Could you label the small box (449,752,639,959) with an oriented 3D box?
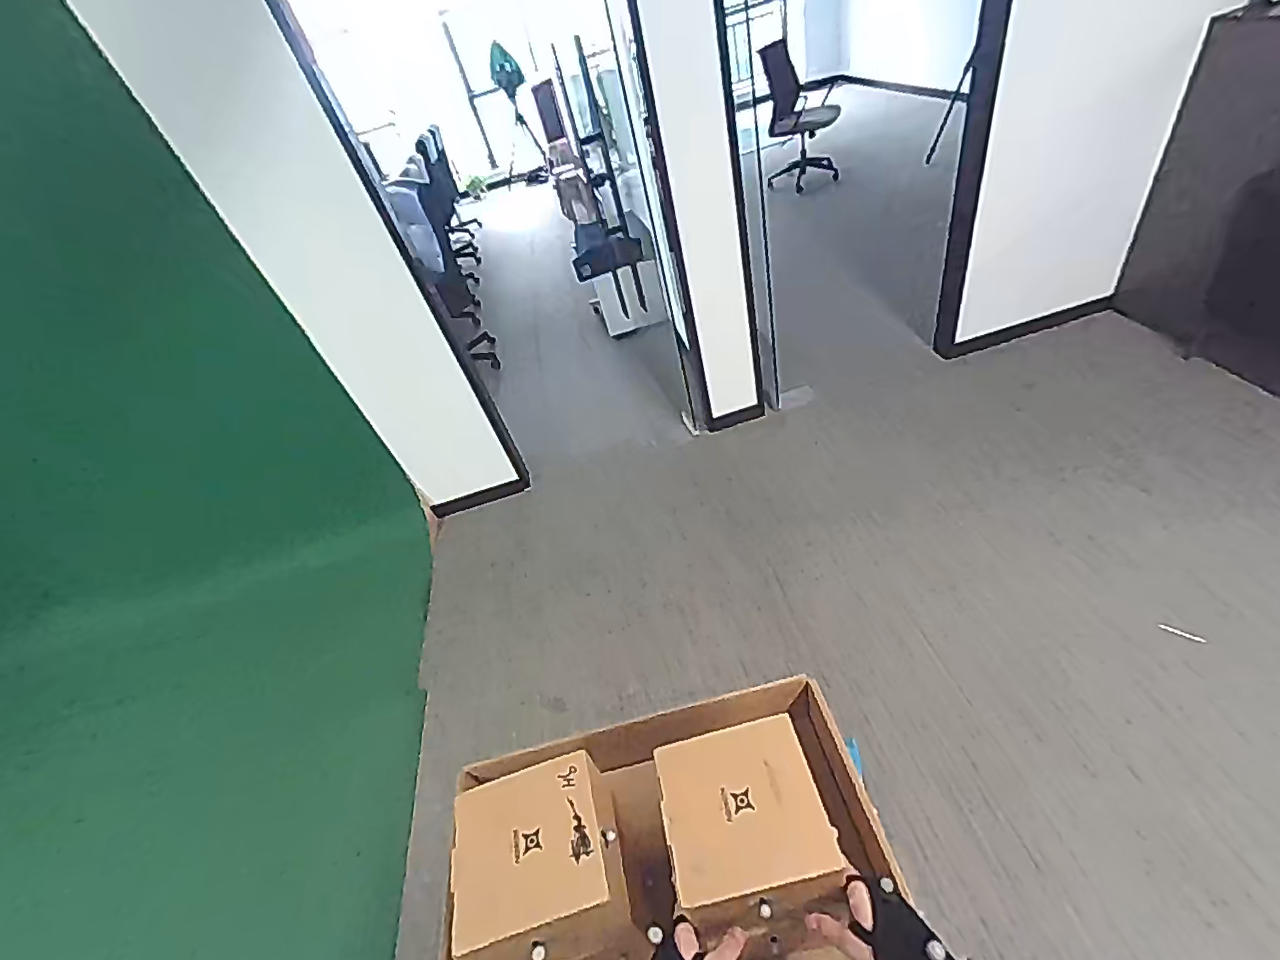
[{"bbox_3d":[-0.116,0.481,0.675,0.179,0.176,0.168,-19,40,-3],"label":"small box"}]
